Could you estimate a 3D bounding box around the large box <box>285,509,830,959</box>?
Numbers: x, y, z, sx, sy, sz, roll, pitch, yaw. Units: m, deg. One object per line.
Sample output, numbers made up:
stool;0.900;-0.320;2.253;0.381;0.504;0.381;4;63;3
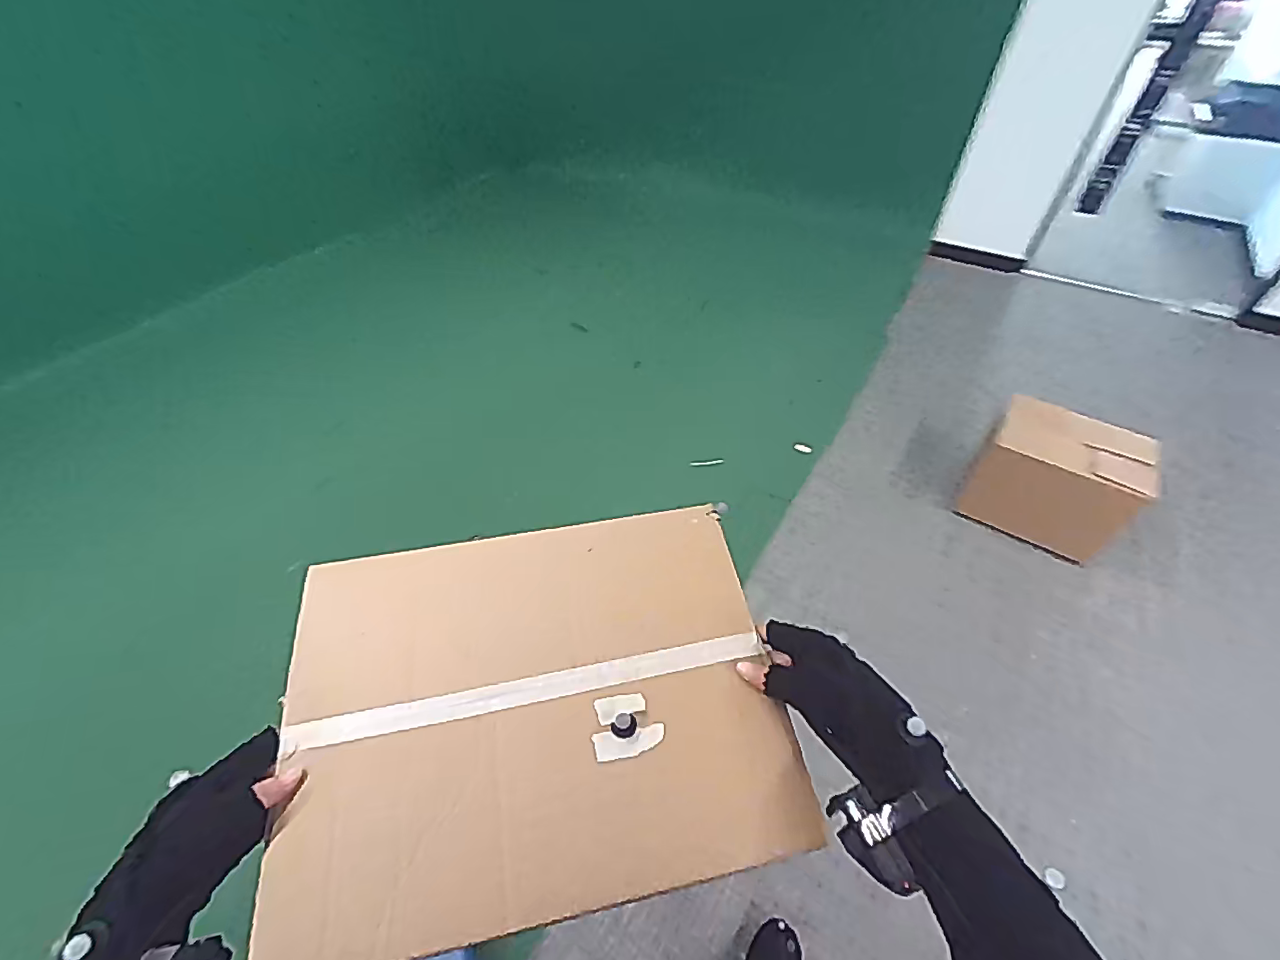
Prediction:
large box;-0.083;0.266;0.591;0.408;0.320;0.320;-7;55;-10
